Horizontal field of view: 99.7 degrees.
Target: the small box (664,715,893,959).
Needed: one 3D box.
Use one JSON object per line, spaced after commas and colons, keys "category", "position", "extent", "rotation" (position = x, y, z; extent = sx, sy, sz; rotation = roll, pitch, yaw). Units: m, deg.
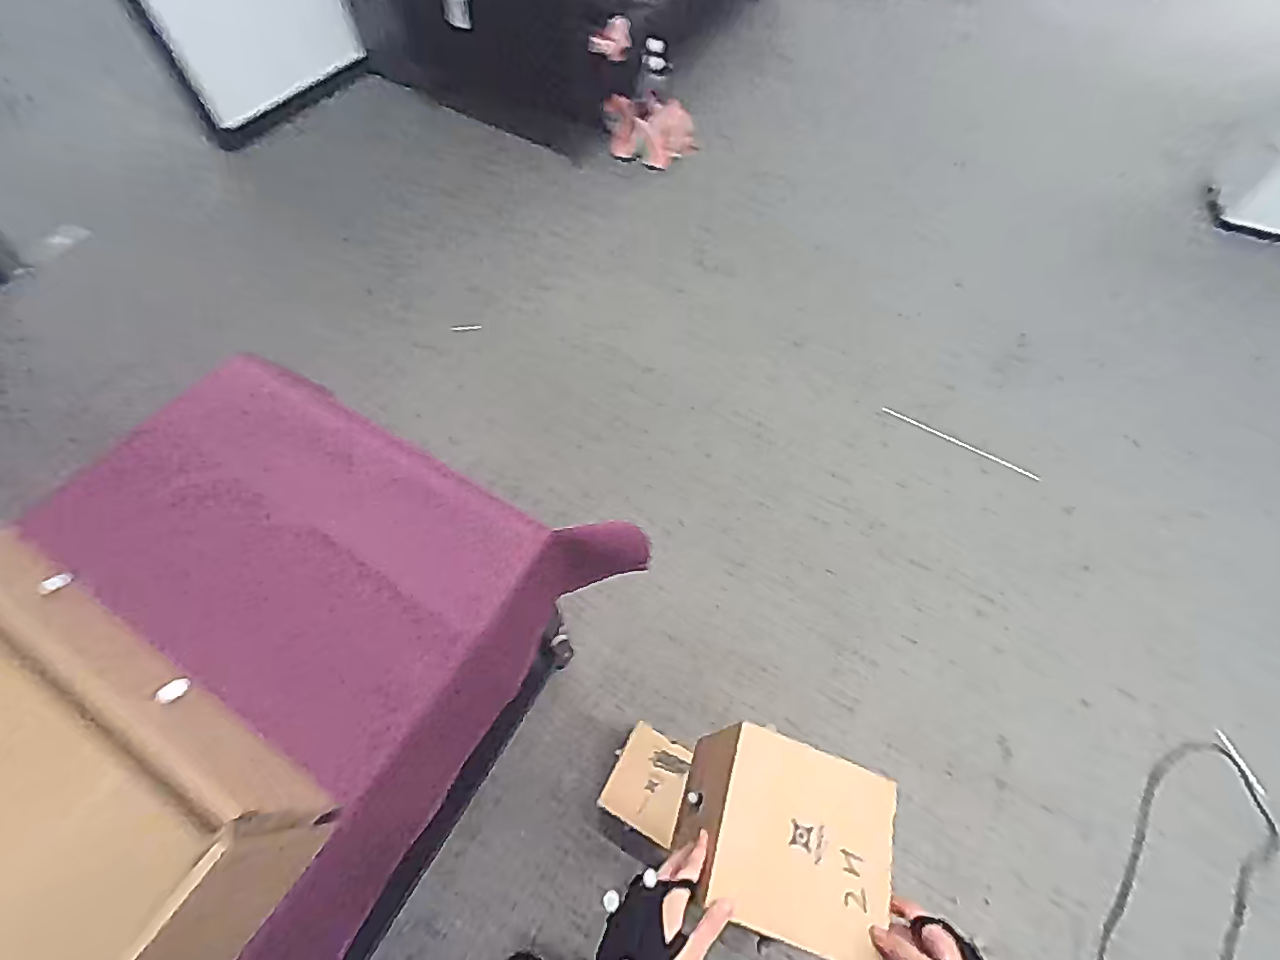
{"category": "small box", "position": [0.140, 0.377, 0.579], "extent": [0.179, 0.176, 0.168], "rotation": [22, 57, 0]}
